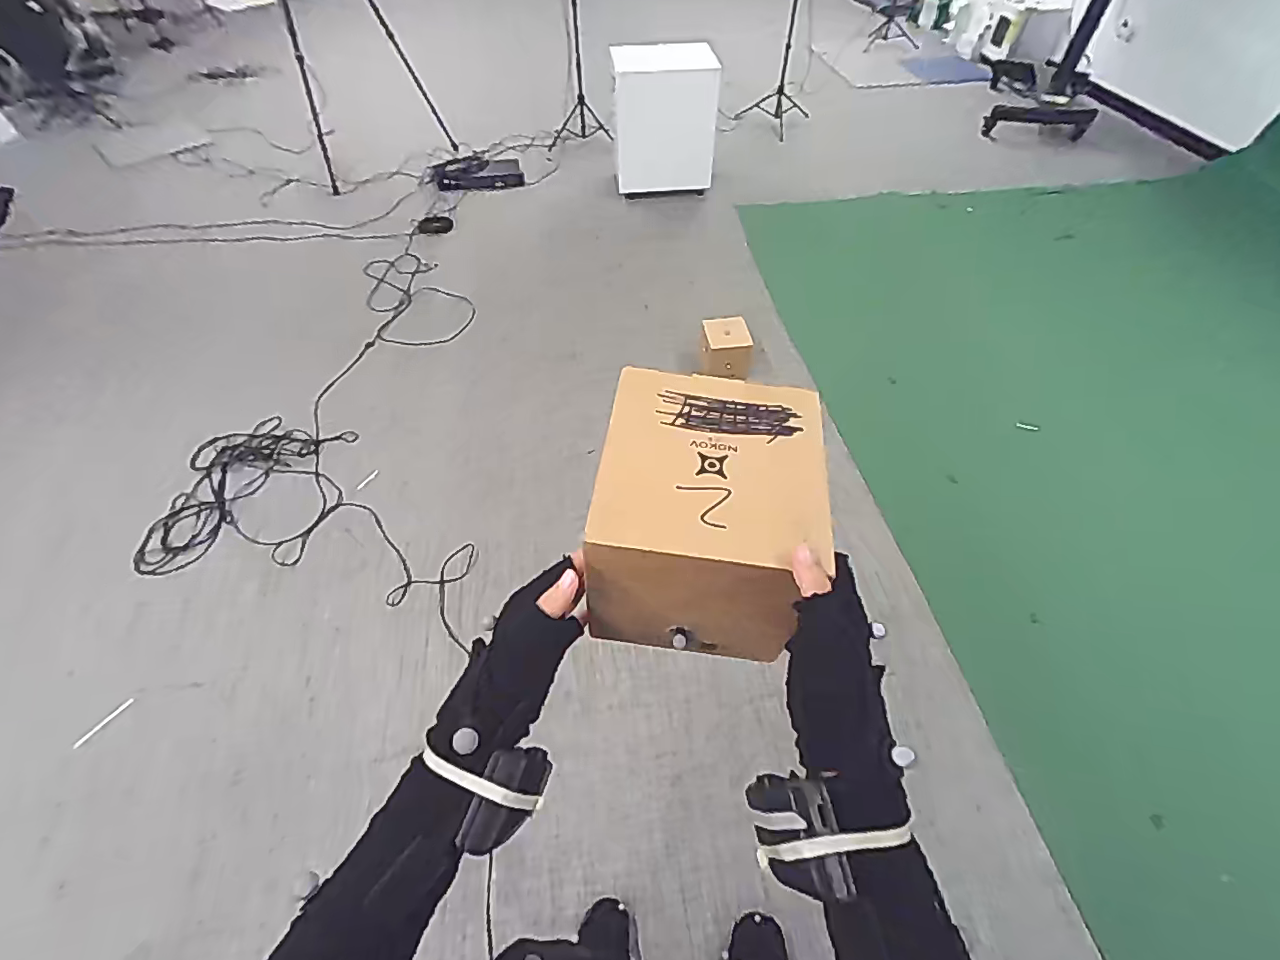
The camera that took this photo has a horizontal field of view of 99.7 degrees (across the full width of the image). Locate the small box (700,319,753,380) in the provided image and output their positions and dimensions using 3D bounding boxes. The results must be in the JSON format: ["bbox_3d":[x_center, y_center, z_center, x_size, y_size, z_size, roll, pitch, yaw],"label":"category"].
[{"bbox_3d":[0.334,-0.506,2.123,0.168,0.176,0.179,-6,53,-5],"label":"small box"}]
